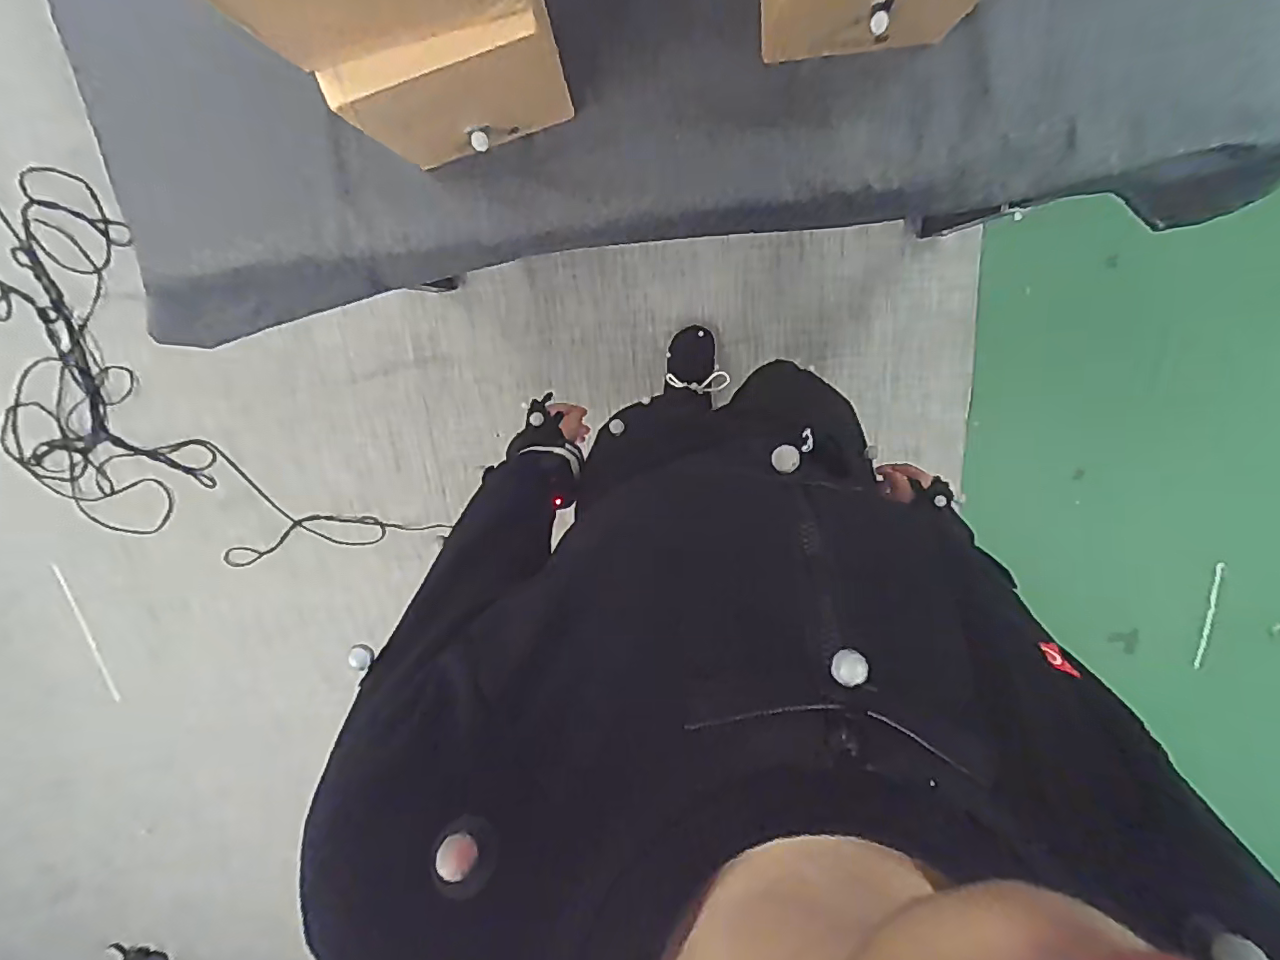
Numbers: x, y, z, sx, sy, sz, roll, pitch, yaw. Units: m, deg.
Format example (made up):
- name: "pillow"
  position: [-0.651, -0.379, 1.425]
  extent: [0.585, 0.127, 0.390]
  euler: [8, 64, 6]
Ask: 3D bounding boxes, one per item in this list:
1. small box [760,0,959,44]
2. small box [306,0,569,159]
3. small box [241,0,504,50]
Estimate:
- name: "small box"
  position: [0.183, -0.464, 0.403]
  extent: [0.168, 0.176, 0.179]
  euler: [-4, 107, 4]
- name: "small box"
  position: [-0.169, -0.397, 0.438]
  extent: [0.168, 0.176, 0.179]
  euler: [-15, 106, 7]
- name: "small box"
  position: [-0.174, -0.366, 0.278]
  extent: [0.179, 0.176, 0.168]
  euler: [-11, 107, 5]
